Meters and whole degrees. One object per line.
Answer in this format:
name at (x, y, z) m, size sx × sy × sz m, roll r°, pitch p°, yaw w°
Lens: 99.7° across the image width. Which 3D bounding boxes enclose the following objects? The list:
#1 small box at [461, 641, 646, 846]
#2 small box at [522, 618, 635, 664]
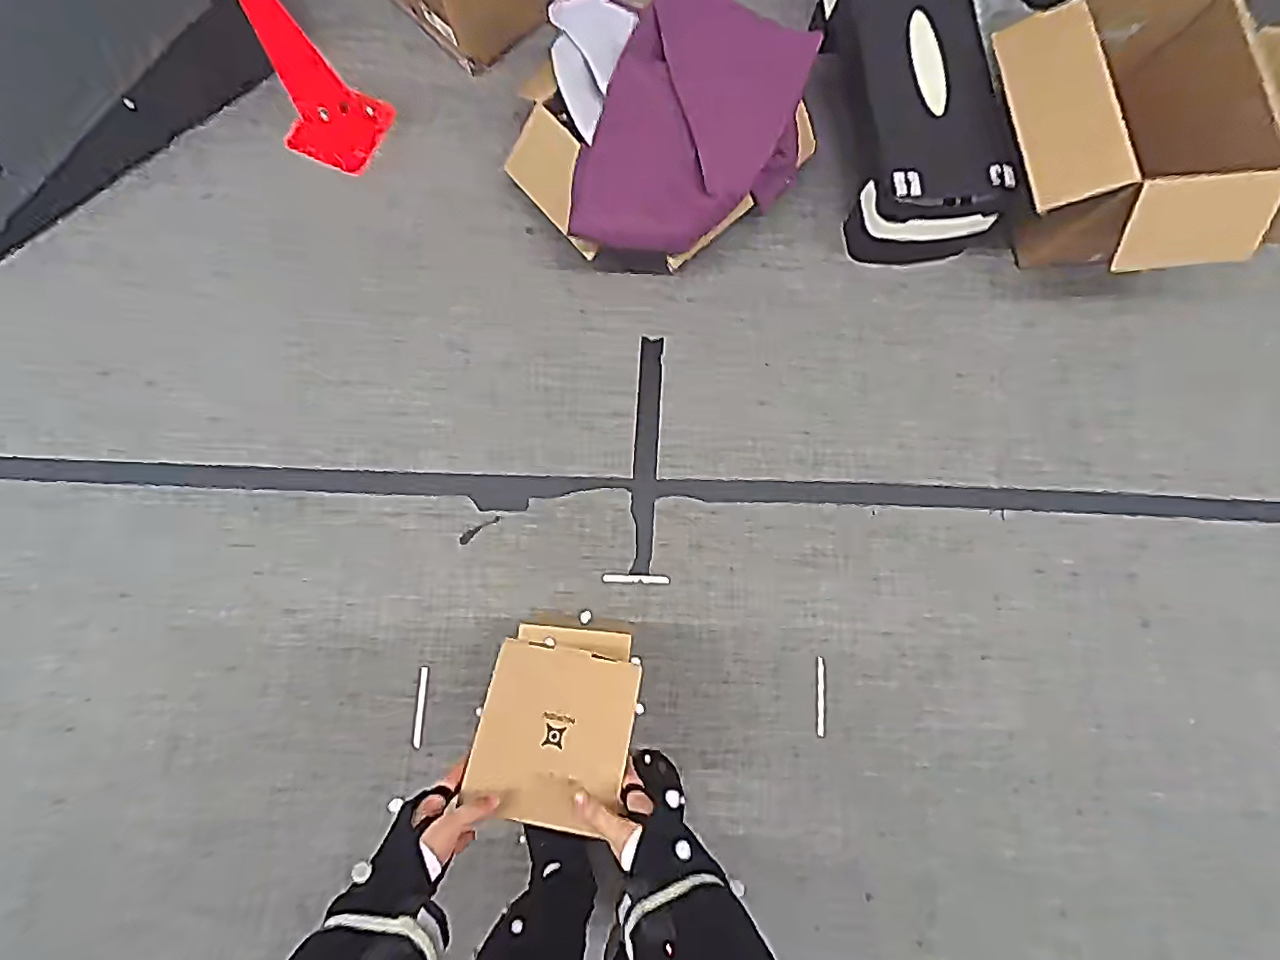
small box at (-0.094, 0.310, 0.650) m, size 0.168 × 0.176 × 0.179 m, roll 11°, pitch 63°, yaw 0°
small box at (-0.101, 0.317, 0.851) m, size 0.168 × 0.176 × 0.179 m, roll 6°, pitch 81°, yaw -1°
